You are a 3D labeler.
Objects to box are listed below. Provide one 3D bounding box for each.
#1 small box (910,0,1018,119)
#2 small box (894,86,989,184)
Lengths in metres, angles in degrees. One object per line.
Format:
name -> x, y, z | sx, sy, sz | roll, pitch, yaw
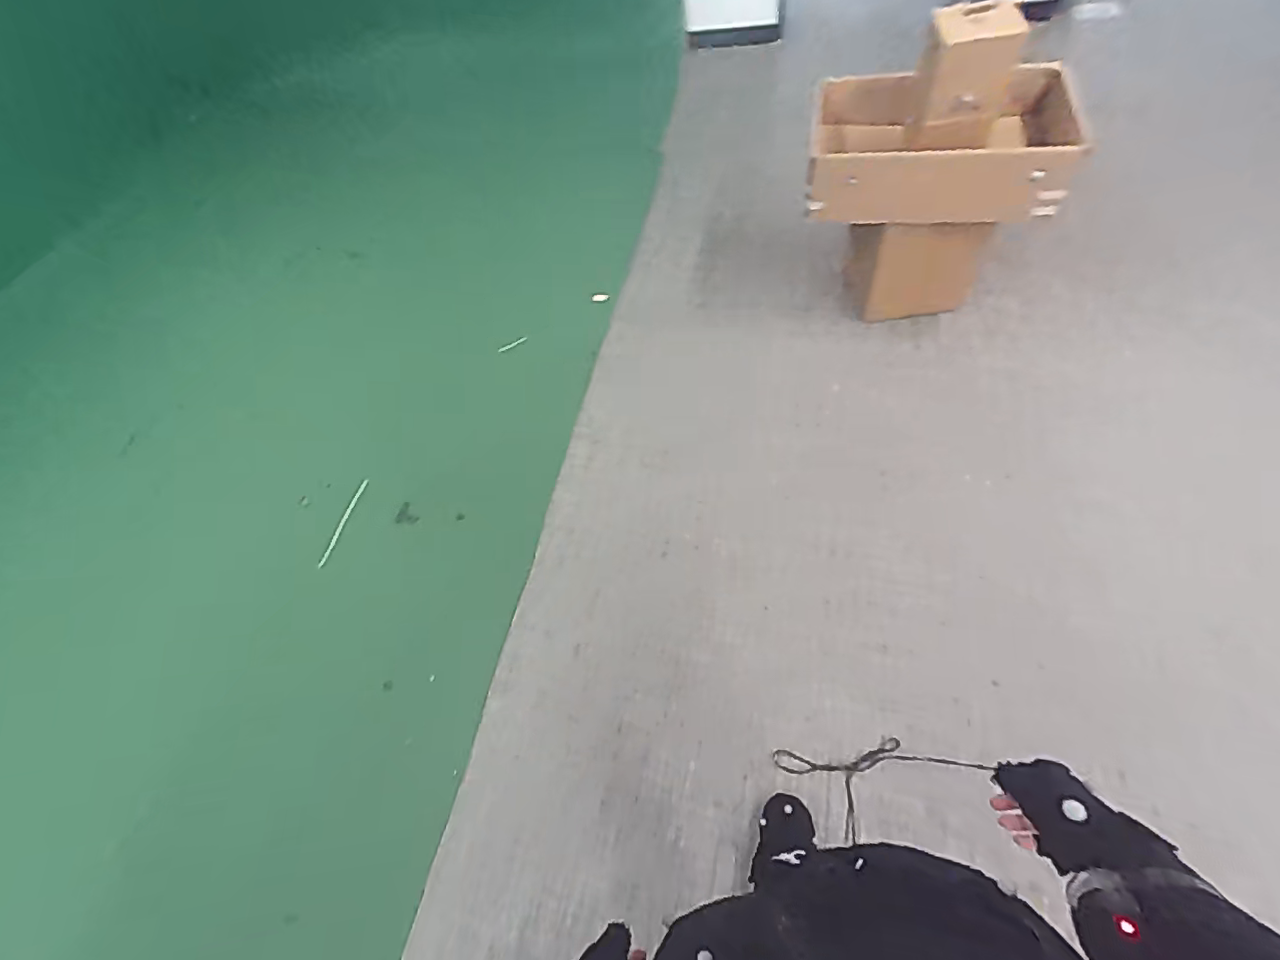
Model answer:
small box -> 0.755, -0.995, 1.282 | 0.168, 0.176, 0.179 | -1, 61, 12
small box -> 0.781, -0.912, 1.422 | 0.168, 0.176, 0.179 | 0, 61, 12
